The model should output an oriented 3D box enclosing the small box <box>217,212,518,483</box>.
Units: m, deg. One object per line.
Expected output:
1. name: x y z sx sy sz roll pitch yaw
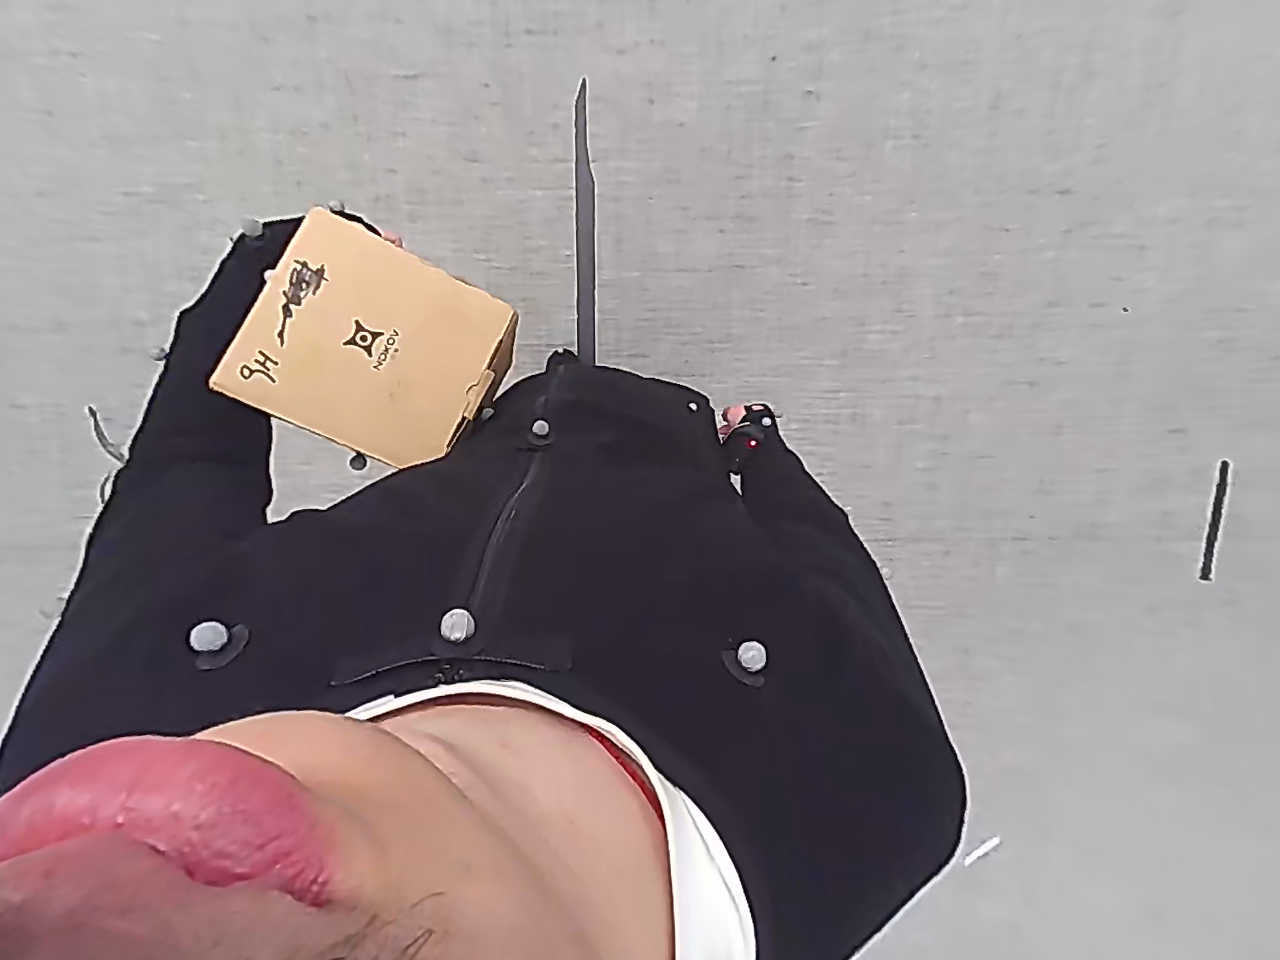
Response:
1. small box: -0.235 -0.105 0.516 0.179 0.176 0.168 25 80 -13
